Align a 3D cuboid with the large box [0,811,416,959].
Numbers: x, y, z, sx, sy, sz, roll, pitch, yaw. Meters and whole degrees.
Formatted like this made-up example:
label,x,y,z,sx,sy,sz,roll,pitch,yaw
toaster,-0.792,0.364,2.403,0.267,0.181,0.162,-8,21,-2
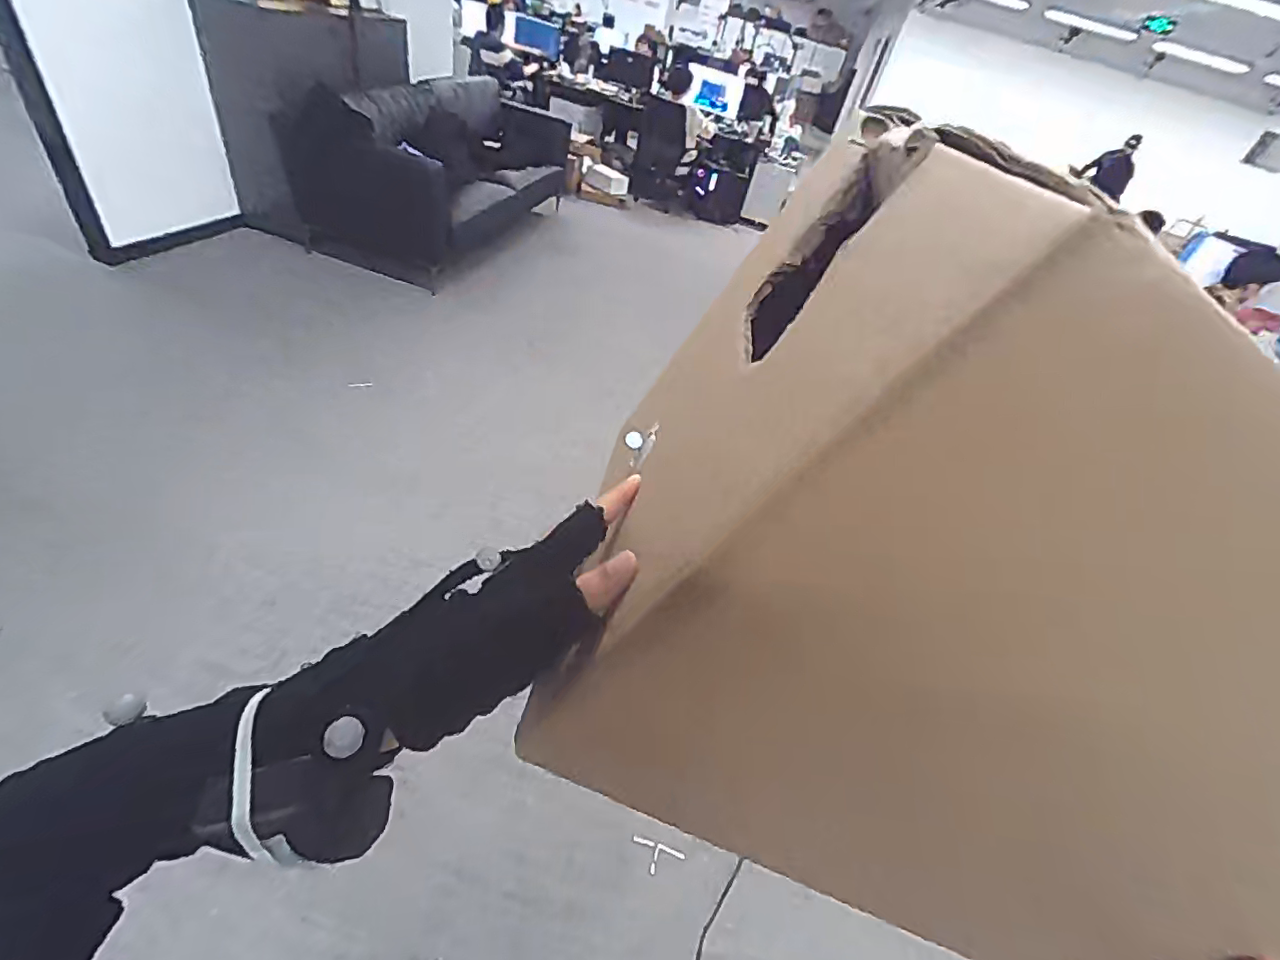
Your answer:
label,x,y,z,sx,sy,sz,roll,pitch,yaw
large box,-0.258,0.441,0.232,0.320,0.320,0.408,-23,95,-54
